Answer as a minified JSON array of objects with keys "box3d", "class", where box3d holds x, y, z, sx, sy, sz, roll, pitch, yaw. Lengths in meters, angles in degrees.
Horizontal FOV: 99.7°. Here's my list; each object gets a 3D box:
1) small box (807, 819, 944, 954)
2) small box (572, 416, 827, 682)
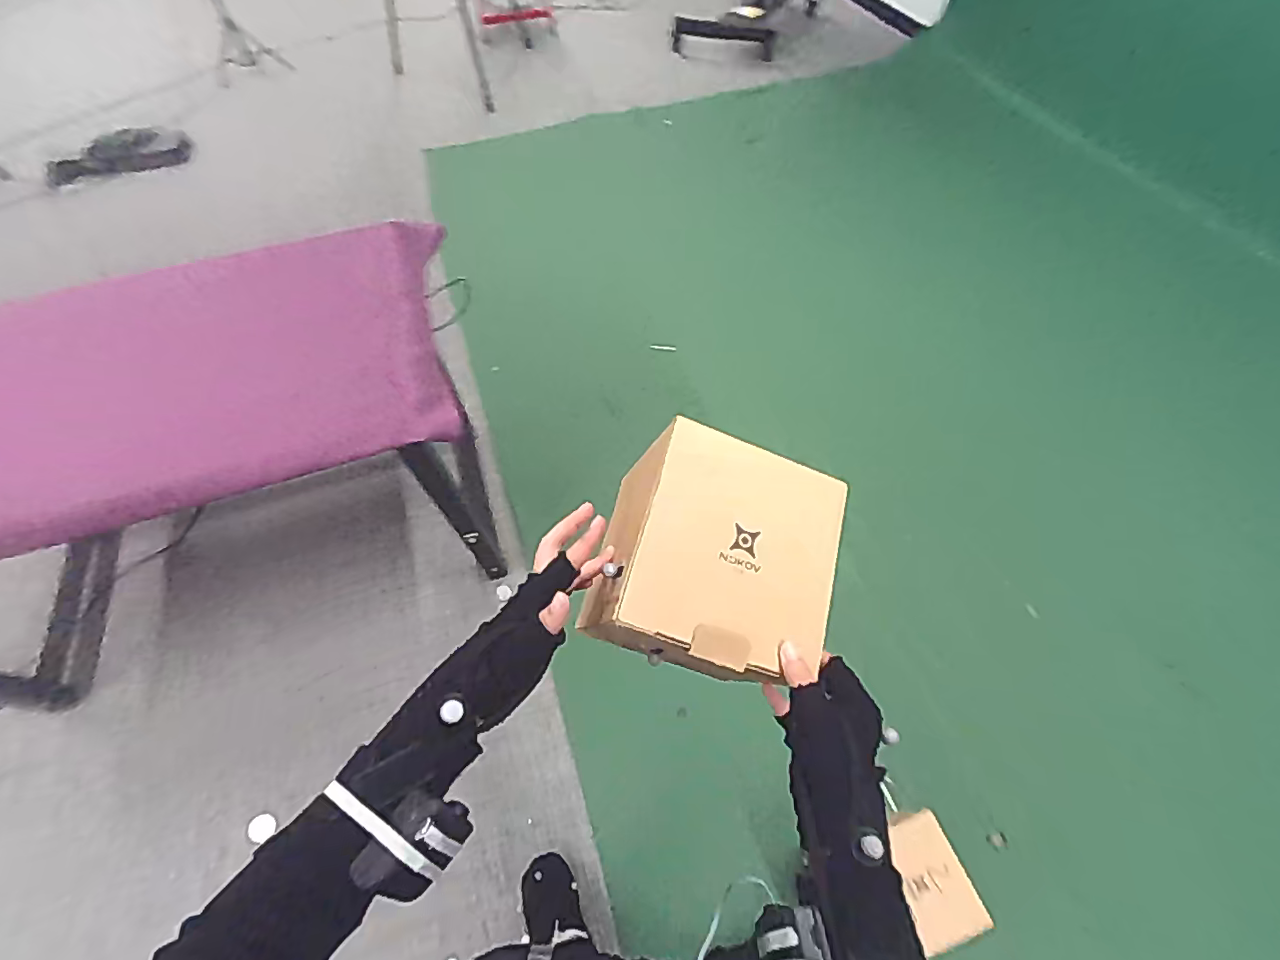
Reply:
[{"box3d":[0.453,0.802,1.082,0.179,0.176,0.168,-16,59,-9],"class":"small box"},{"box3d":[0.046,0.073,0.507,0.168,0.176,0.179,21,69,-10],"class":"small box"}]
